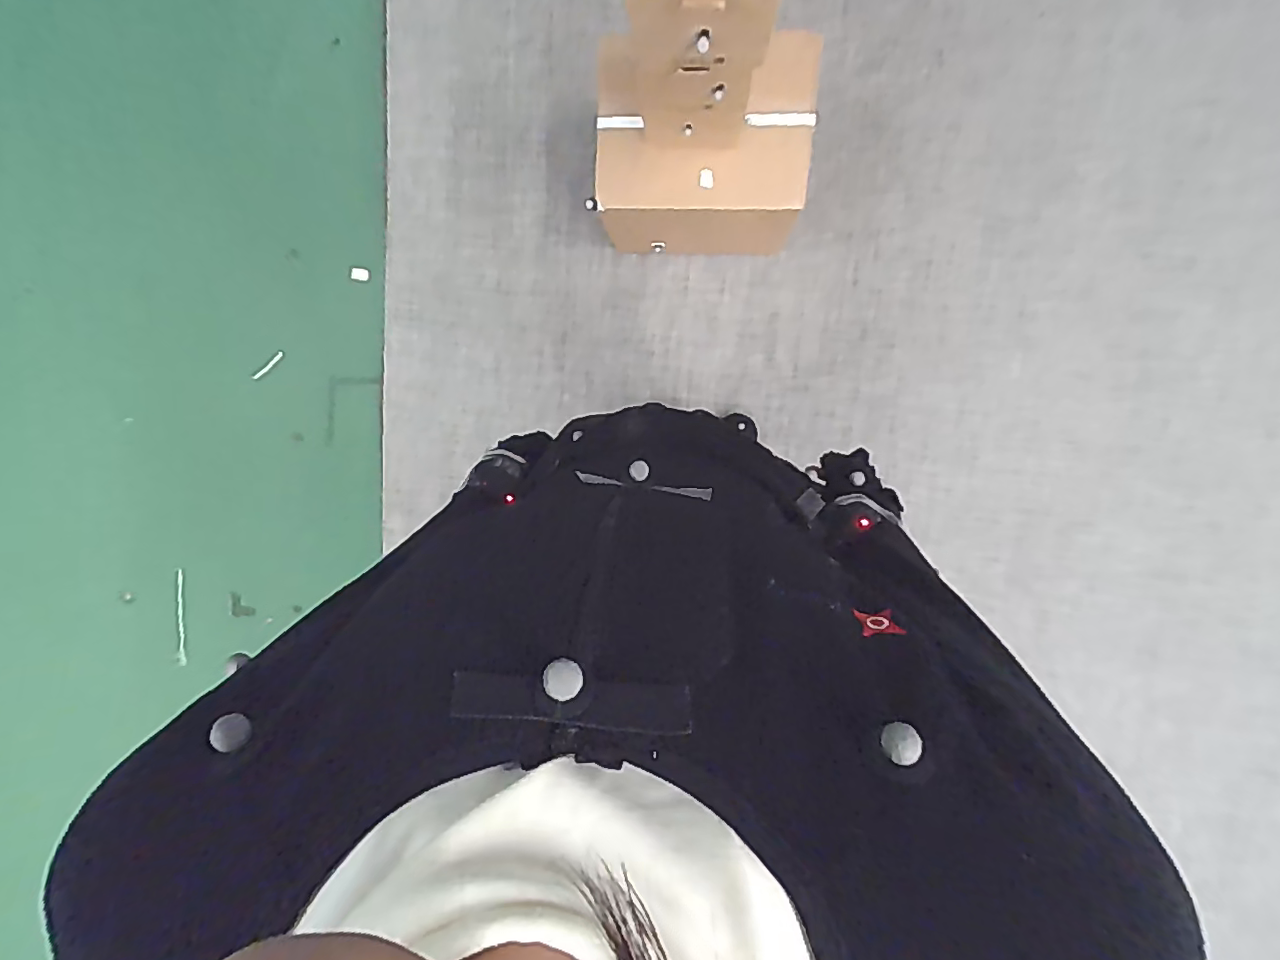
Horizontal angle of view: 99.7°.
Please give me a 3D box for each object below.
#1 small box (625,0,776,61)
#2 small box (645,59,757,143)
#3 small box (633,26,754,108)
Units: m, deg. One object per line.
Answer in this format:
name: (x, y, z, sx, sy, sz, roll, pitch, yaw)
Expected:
small box: (0.077, -0.609, 0.611, 0.168, 0.176, 0.179, 4, 105, 6)
small box: (0.105, -0.696, 0.923, 0.179, 0.176, 0.168, 3, 105, 7)
small box: (0.084, -0.657, 0.767, 0.168, 0.176, 0.179, 4, 104, 5)
